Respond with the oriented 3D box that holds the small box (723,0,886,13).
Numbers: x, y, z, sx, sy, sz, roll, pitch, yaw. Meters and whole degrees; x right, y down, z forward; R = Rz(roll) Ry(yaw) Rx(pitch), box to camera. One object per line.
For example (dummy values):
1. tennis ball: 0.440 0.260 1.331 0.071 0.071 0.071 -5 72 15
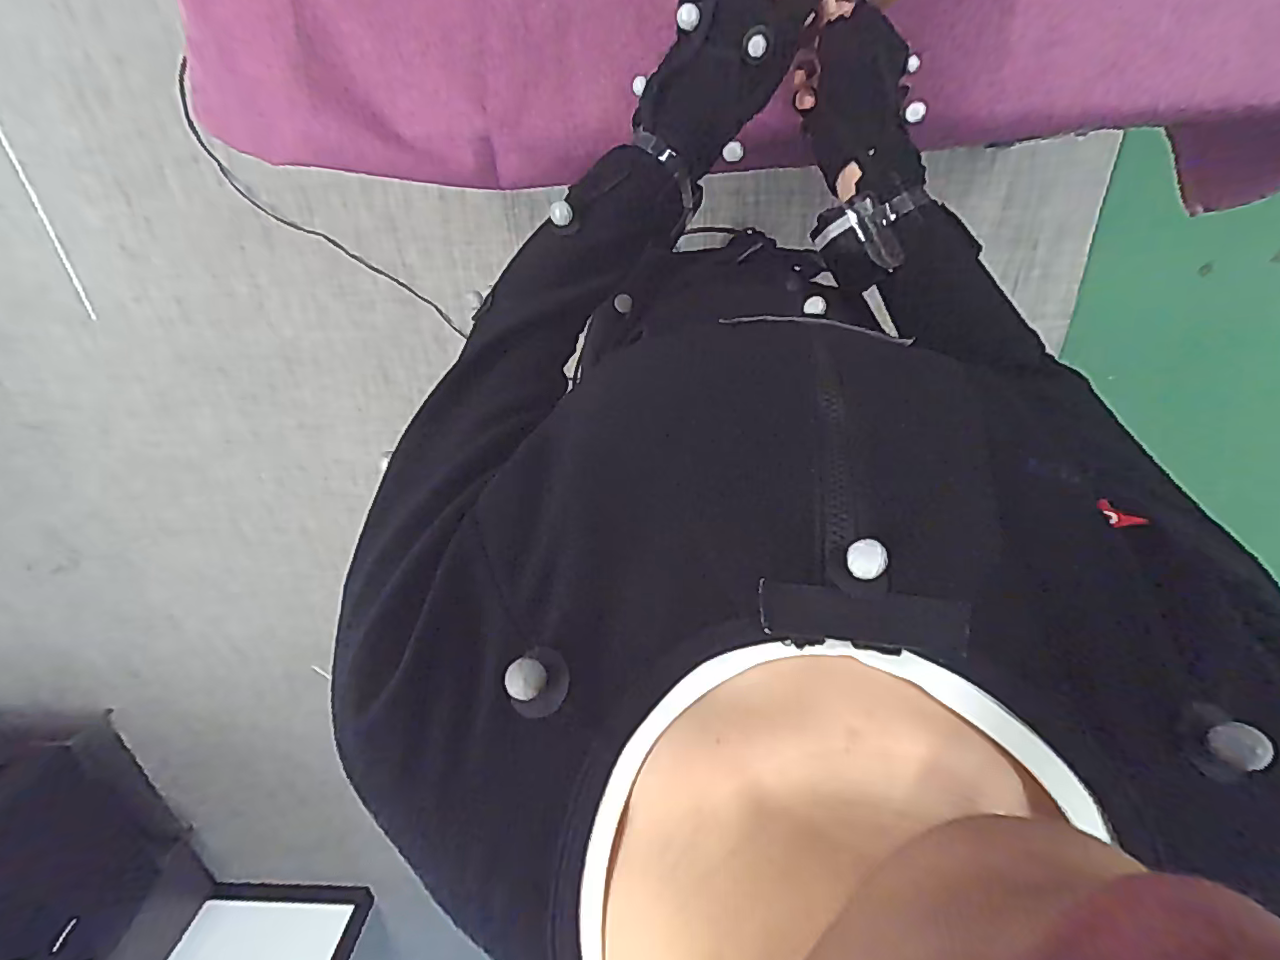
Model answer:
1. small box: 0.146 -0.488 0.412 0.168 0.176 0.179 0 116 3
